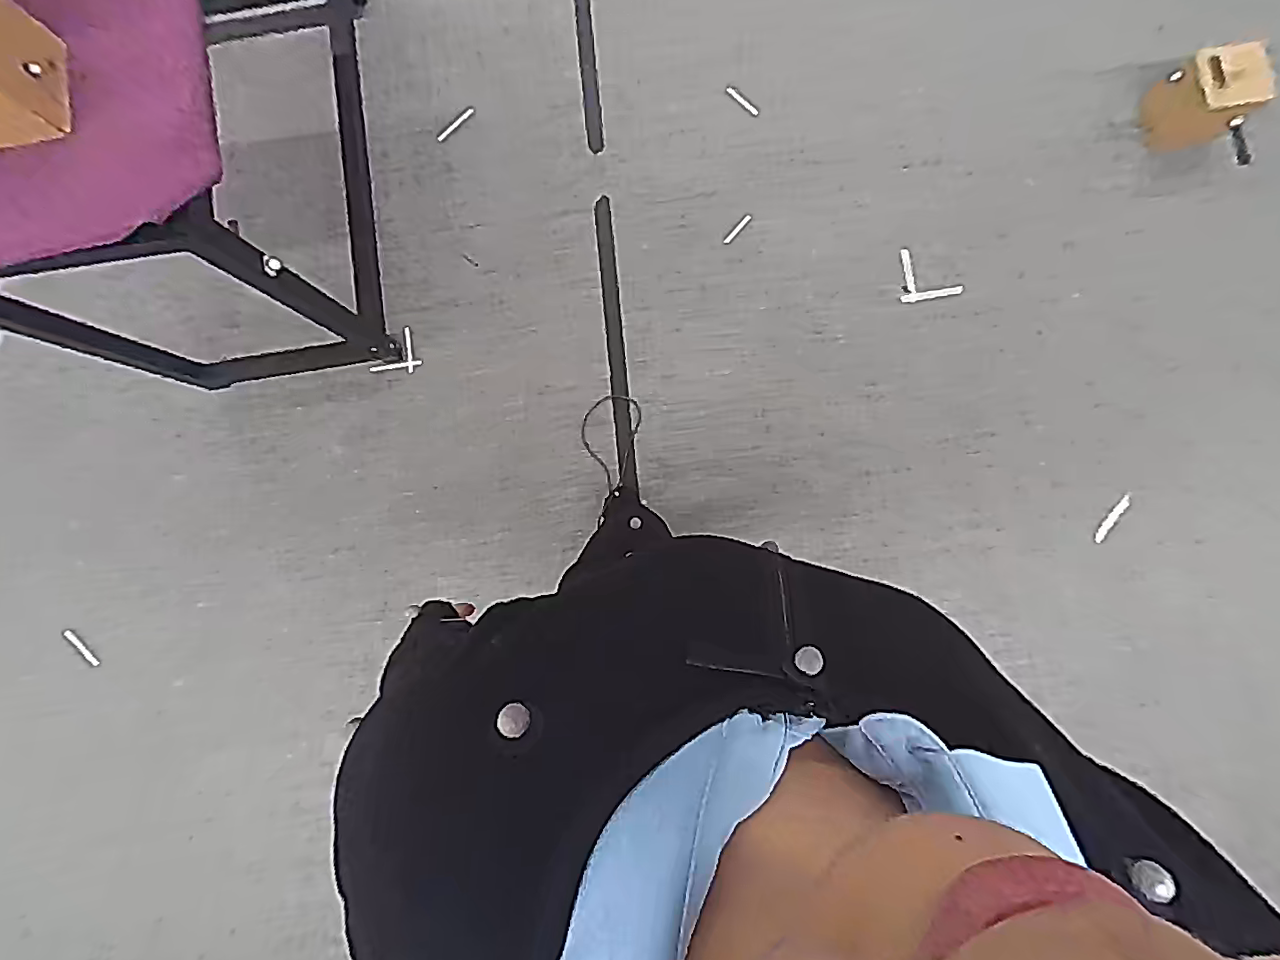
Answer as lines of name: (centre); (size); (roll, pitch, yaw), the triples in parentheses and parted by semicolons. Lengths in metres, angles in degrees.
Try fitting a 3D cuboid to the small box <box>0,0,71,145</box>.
small box: (-1.004, -0.622, 0.791); (0.179, 0.176, 0.168); (-9, 85, 0)
